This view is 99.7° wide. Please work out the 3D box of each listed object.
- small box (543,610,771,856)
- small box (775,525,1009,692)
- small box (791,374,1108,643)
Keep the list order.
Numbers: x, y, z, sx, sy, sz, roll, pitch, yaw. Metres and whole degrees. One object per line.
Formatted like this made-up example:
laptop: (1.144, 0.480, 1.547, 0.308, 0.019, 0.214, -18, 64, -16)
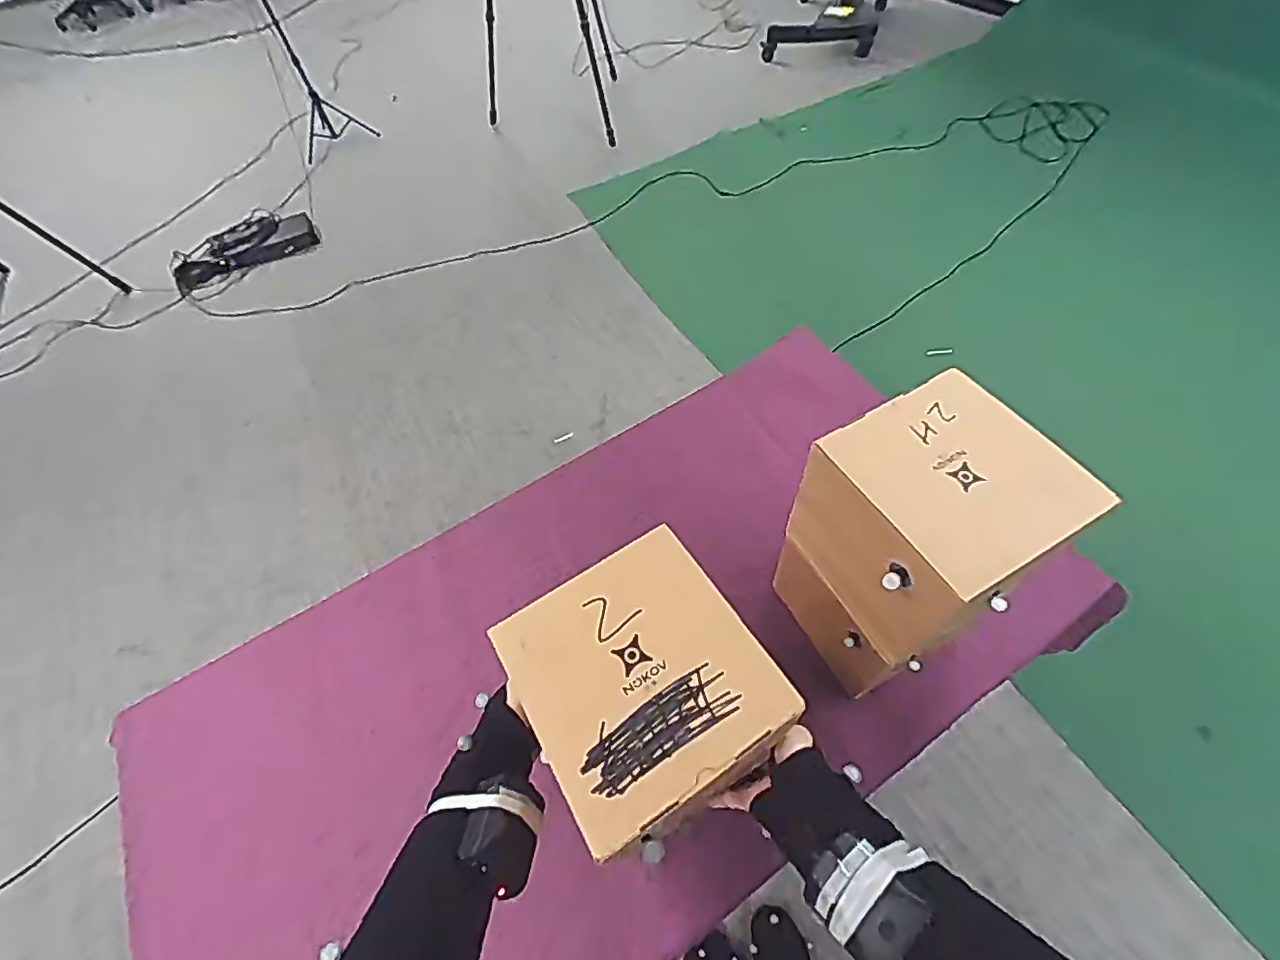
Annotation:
small box: (0.021, 0.278, 0.591, 0.179, 0.176, 0.168, -27, 58, -11)
small box: (0.285, 0.129, 0.662, 0.168, 0.176, 0.179, -26, 58, -11)
small box: (0.271, 0.038, 0.525, 0.168, 0.176, 0.179, -27, 58, -12)
